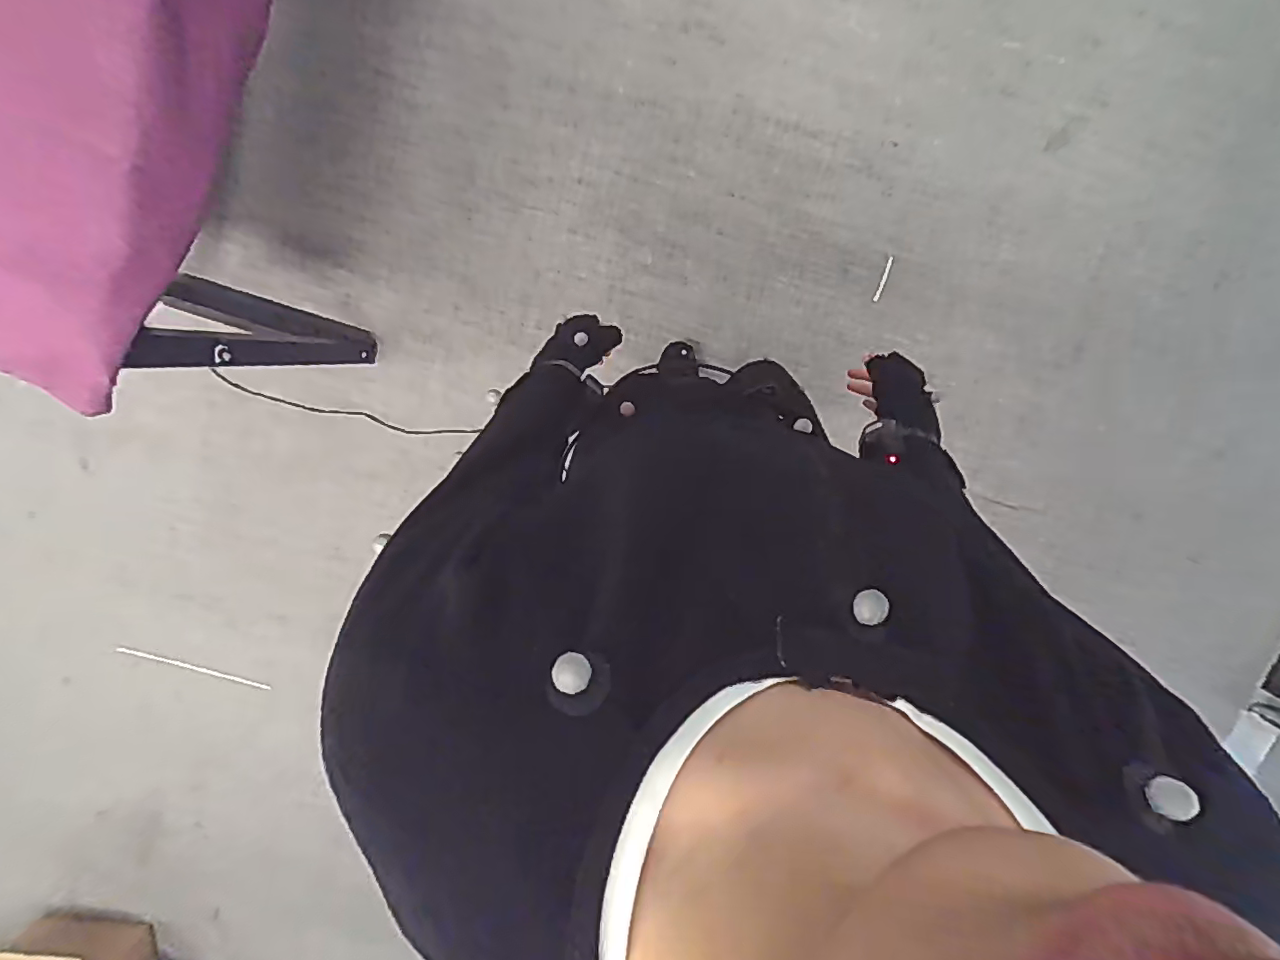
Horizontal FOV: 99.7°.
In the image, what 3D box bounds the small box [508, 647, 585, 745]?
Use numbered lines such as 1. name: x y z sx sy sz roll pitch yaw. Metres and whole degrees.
1. small box: -0.262 0.614 1.549 0.168 0.176 0.179 14 104 -1
